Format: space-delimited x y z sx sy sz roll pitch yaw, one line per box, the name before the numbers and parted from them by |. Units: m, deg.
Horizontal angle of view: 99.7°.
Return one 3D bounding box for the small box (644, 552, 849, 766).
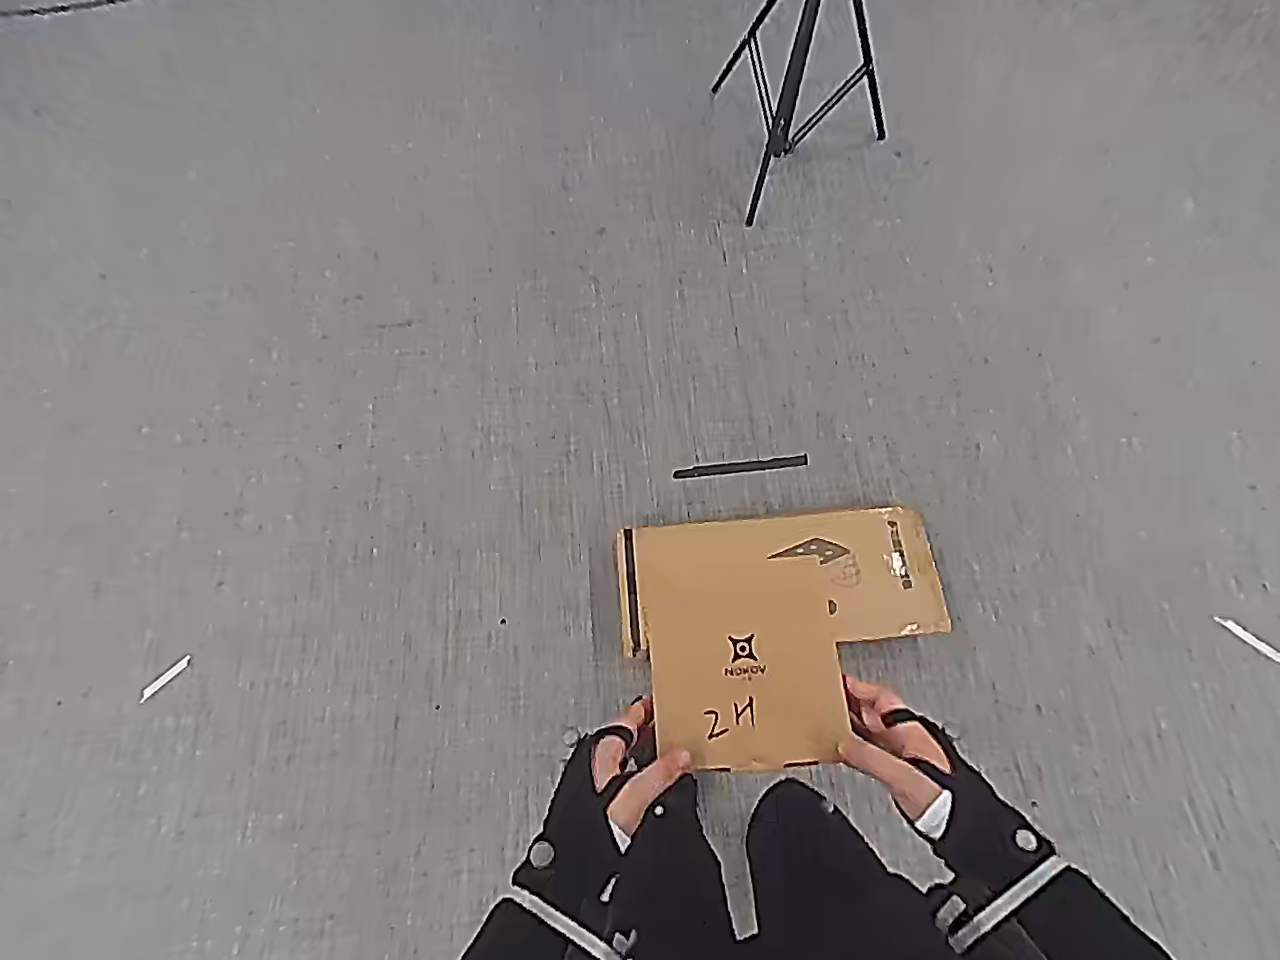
small box | 0.094 0.182 0.555 0.168 0.176 0.179 -5 70 3
